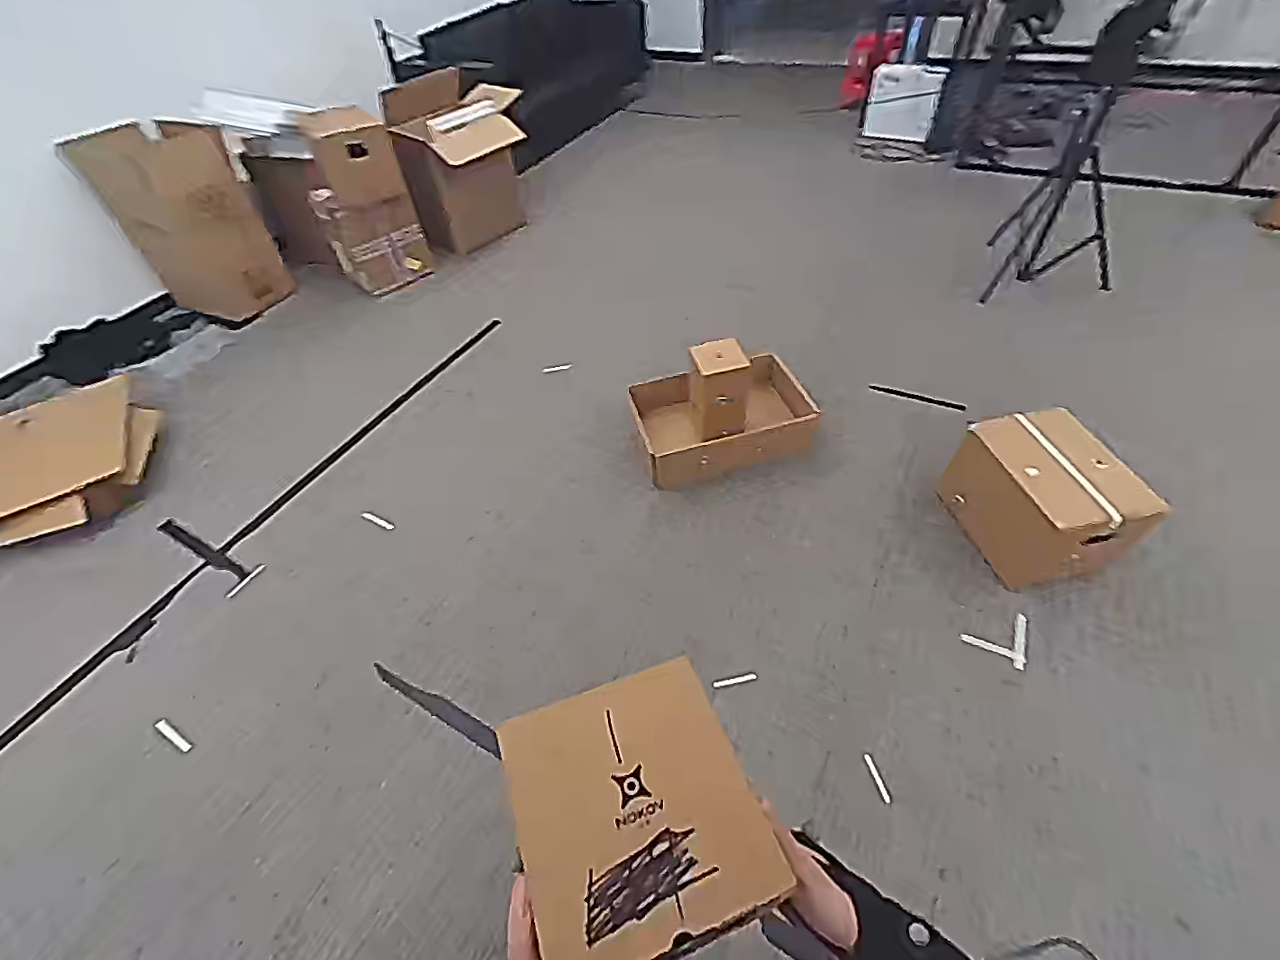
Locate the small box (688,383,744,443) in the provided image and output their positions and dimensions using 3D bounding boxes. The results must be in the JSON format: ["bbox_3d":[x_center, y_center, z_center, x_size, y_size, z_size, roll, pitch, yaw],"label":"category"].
[{"bbox_3d":[0.278,-0.267,2.019,0.168,0.176,0.179,-12,49,-4],"label":"small box"}]

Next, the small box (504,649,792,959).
[{"bbox_3d":[-0.004,0.276,0.446,0.168,0.176,0.179,-14,47,-16],"label":"small box"}]

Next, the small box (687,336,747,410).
[{"bbox_3d":[0.265,-0.375,1.899,0.168,0.176,0.179,-14,49,-5],"label":"small box"}]
